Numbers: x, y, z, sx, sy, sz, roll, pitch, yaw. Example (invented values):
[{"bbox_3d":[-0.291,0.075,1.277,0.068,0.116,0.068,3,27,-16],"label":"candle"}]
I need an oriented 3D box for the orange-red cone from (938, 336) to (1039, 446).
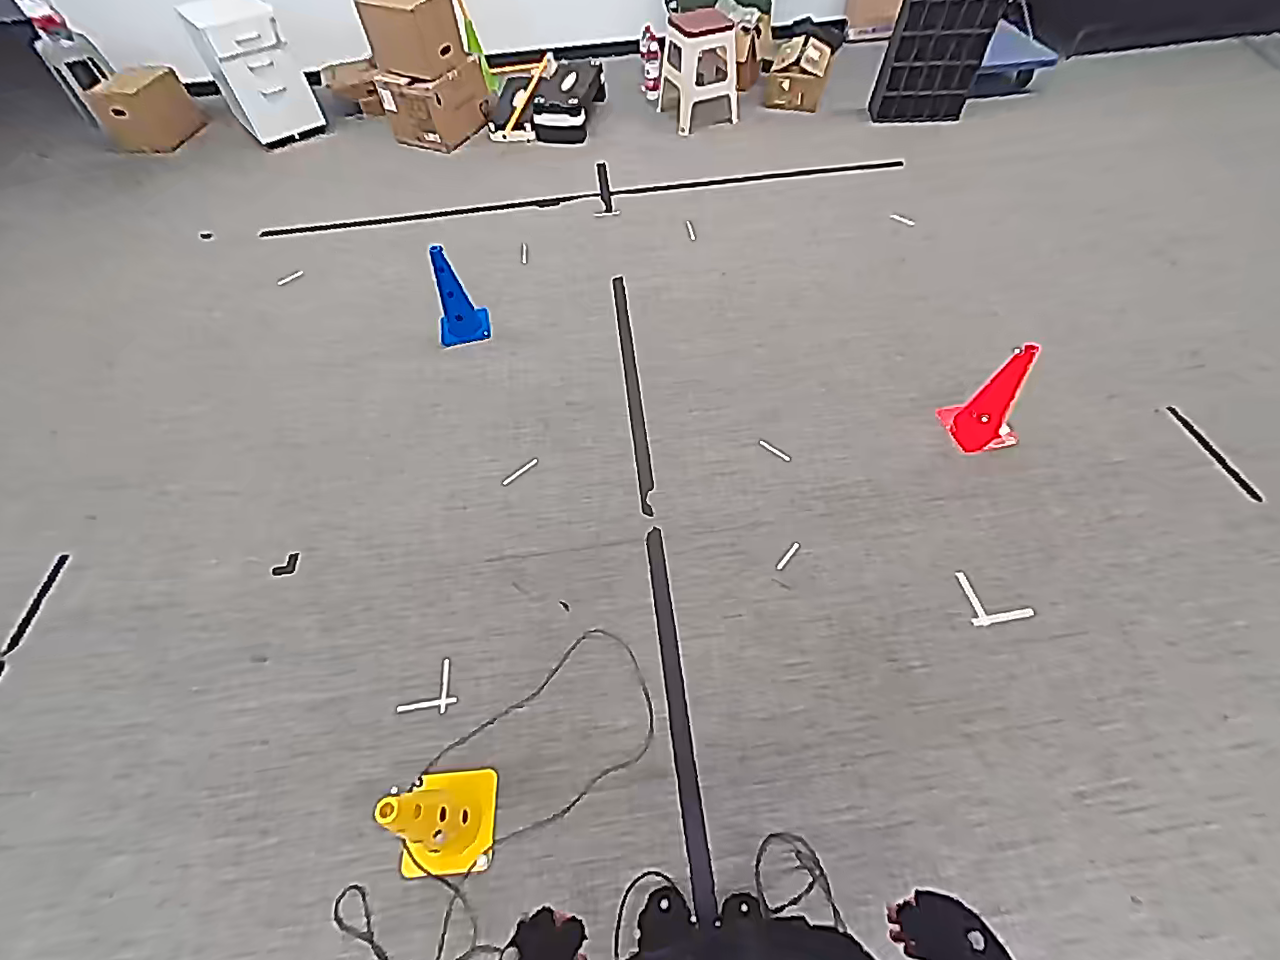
[{"bbox_3d":[1.129,-0.299,1.689,0.198,0.360,0.199,-11,54,-5],"label":"orange-red cone"}]

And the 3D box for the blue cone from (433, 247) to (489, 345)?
[{"bbox_3d":[-0.735,-0.727,2.108,0.192,0.380,0.193,-12,55,-5],"label":"blue cone"}]
